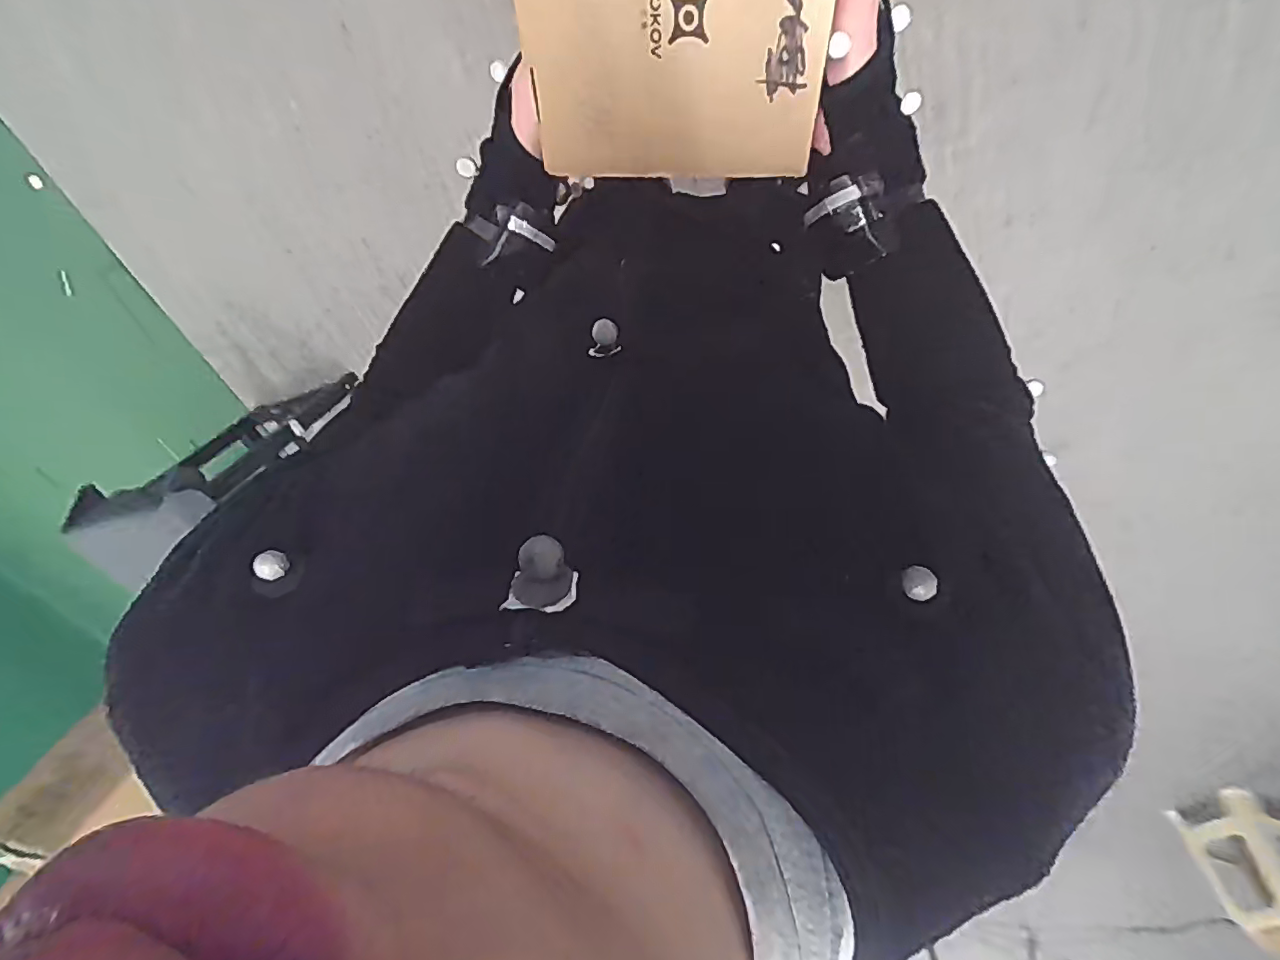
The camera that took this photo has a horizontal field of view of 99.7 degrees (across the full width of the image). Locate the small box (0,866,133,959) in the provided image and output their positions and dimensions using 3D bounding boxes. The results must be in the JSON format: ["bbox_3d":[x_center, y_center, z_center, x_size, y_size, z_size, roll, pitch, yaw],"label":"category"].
[{"bbox_3d":[-1.313,0.985,1.201,0.168,0.176,0.179,-10,126,17],"label":"small box"}]
